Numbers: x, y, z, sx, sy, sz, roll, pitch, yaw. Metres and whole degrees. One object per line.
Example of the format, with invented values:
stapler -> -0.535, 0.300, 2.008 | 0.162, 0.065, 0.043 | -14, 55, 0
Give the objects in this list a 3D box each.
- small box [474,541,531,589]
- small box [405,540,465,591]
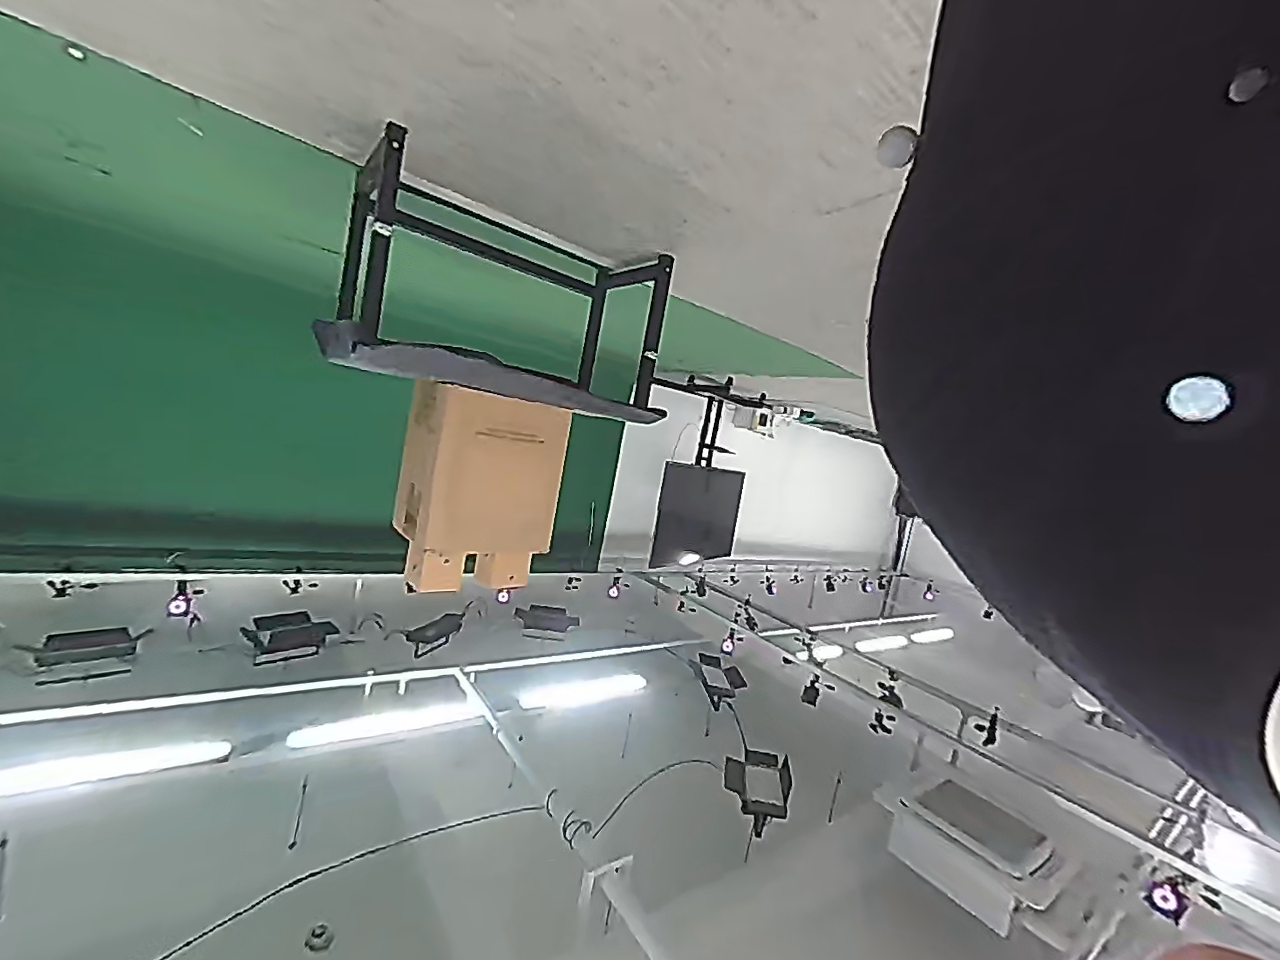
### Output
small box -> -0.591, 0.362, 2.332 | 0.179, 0.176, 0.168 | 8, -178, -43
small box -> -0.813, 0.337, 2.151 | 0.168, 0.176, 0.179 | 9, -178, -42
